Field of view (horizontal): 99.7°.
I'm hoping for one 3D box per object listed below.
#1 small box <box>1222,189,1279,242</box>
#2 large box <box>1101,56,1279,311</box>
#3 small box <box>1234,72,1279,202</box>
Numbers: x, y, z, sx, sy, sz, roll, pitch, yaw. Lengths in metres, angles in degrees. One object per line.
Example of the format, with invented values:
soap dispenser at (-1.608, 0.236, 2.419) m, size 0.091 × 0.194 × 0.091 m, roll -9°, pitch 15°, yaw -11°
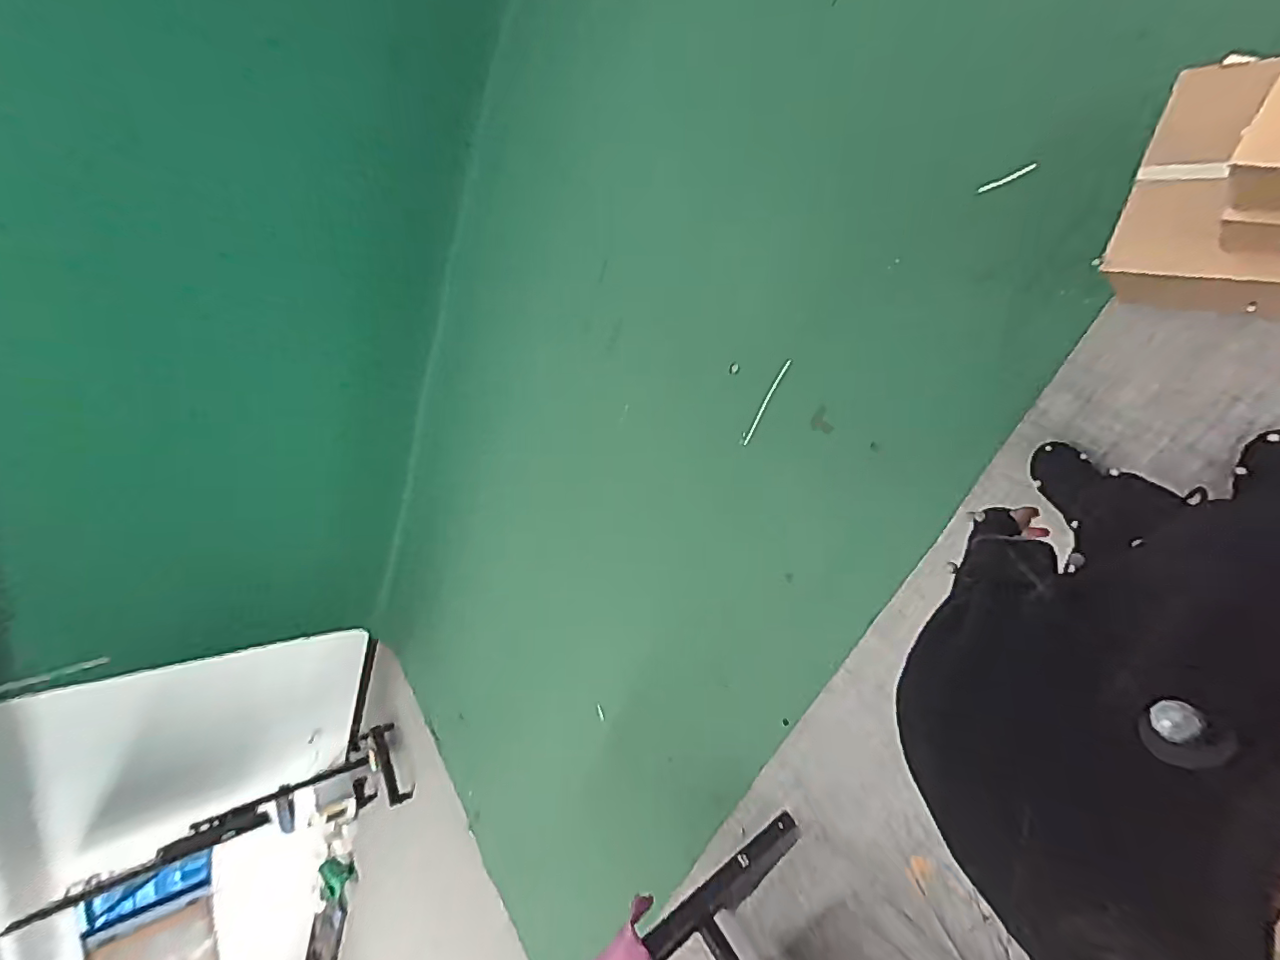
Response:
small box at (0.908, -0.406, 0.693) m, size 0.168 × 0.176 × 0.179 m, roll 33°, pitch 116°, yaw 39°
large box at (1.074, -0.456, 0.872) m, size 0.408 × 0.320 × 0.320 m, roll 27°, pitch 111°, yaw 43°
small box at (0.795, -0.403, 0.576) m, size 0.179 × 0.176 × 0.168 m, roll 34°, pitch 117°, yaw 39°
